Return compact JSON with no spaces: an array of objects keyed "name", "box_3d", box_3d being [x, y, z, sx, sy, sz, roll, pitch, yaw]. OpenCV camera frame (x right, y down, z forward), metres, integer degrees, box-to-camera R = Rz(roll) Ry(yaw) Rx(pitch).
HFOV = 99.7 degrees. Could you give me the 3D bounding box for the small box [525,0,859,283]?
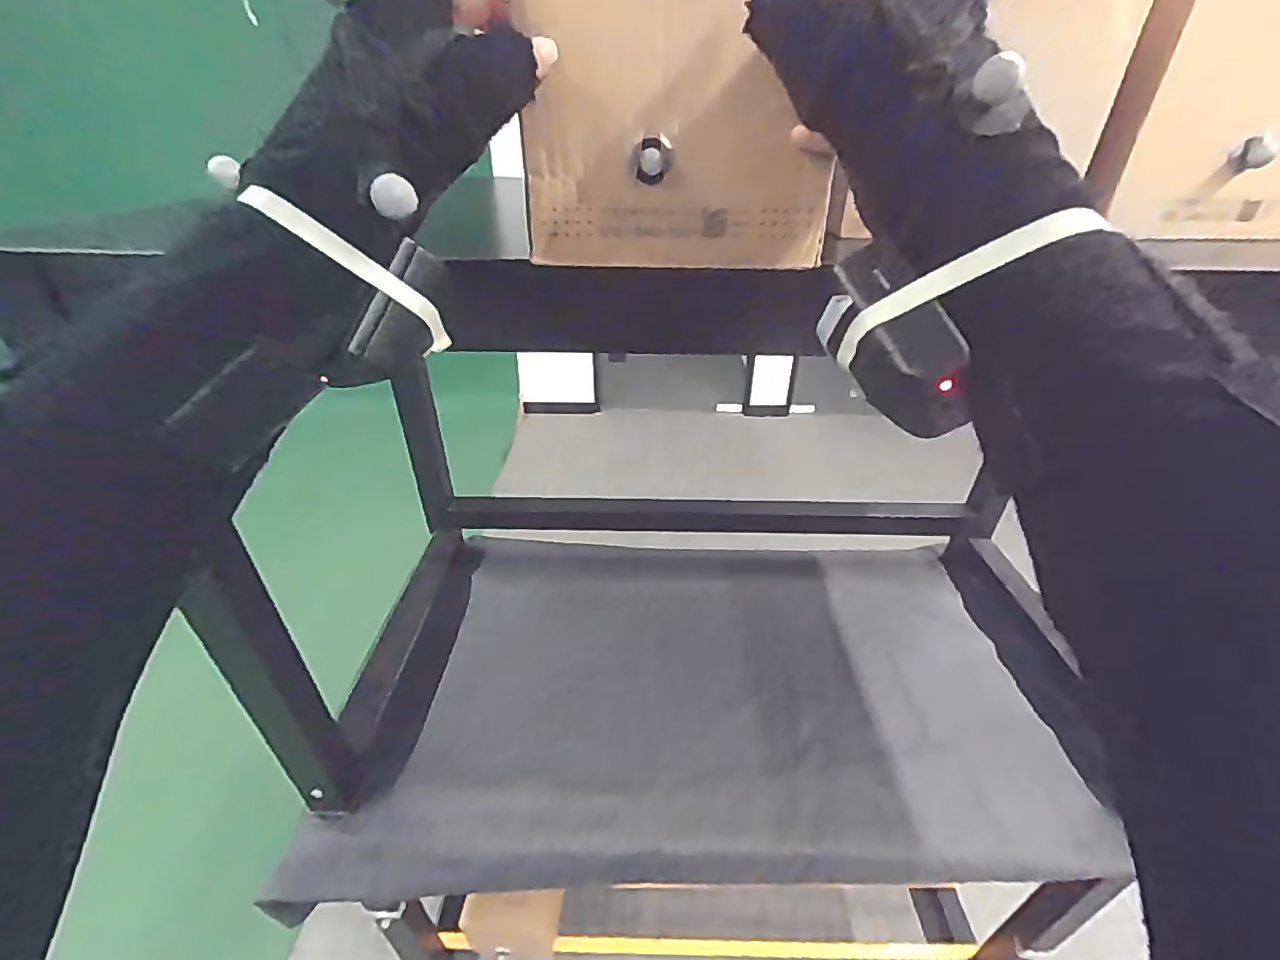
[{"name":"small box","box_3d":[0.024,-0.237,0.352,0.168,0.176,0.179,1,33,1]}]
